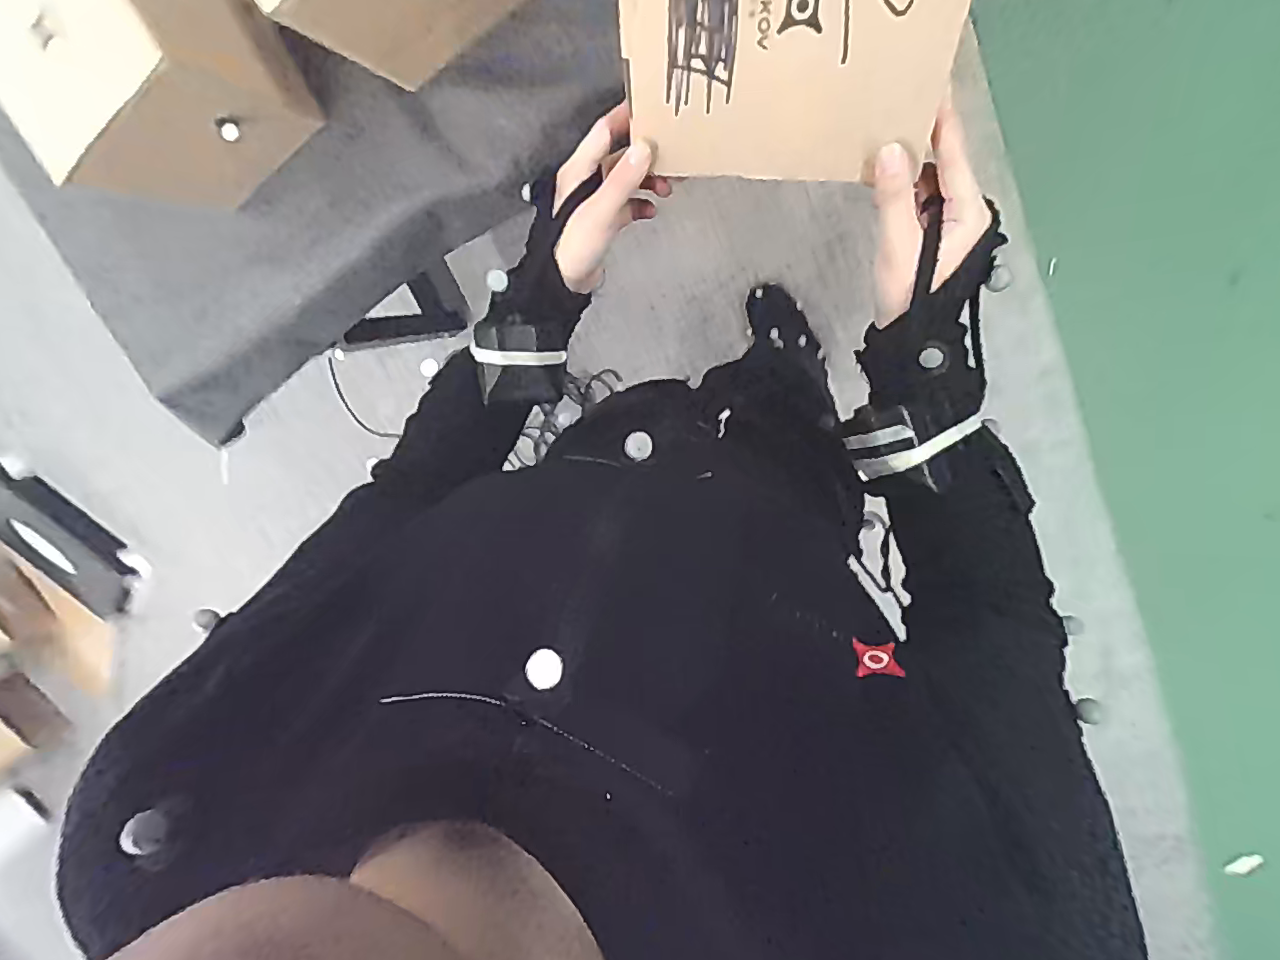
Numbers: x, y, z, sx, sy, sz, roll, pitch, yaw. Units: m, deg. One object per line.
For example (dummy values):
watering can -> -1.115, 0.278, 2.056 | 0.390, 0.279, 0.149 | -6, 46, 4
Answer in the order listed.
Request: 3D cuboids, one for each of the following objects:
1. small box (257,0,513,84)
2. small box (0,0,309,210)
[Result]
small box -> -0.215, -0.465, 0.425 | 0.179, 0.176, 0.168 | -24, 101, 20
small box -> -0.459, -0.388, 0.513 | 0.179, 0.176, 0.168 | -26, 99, 22
